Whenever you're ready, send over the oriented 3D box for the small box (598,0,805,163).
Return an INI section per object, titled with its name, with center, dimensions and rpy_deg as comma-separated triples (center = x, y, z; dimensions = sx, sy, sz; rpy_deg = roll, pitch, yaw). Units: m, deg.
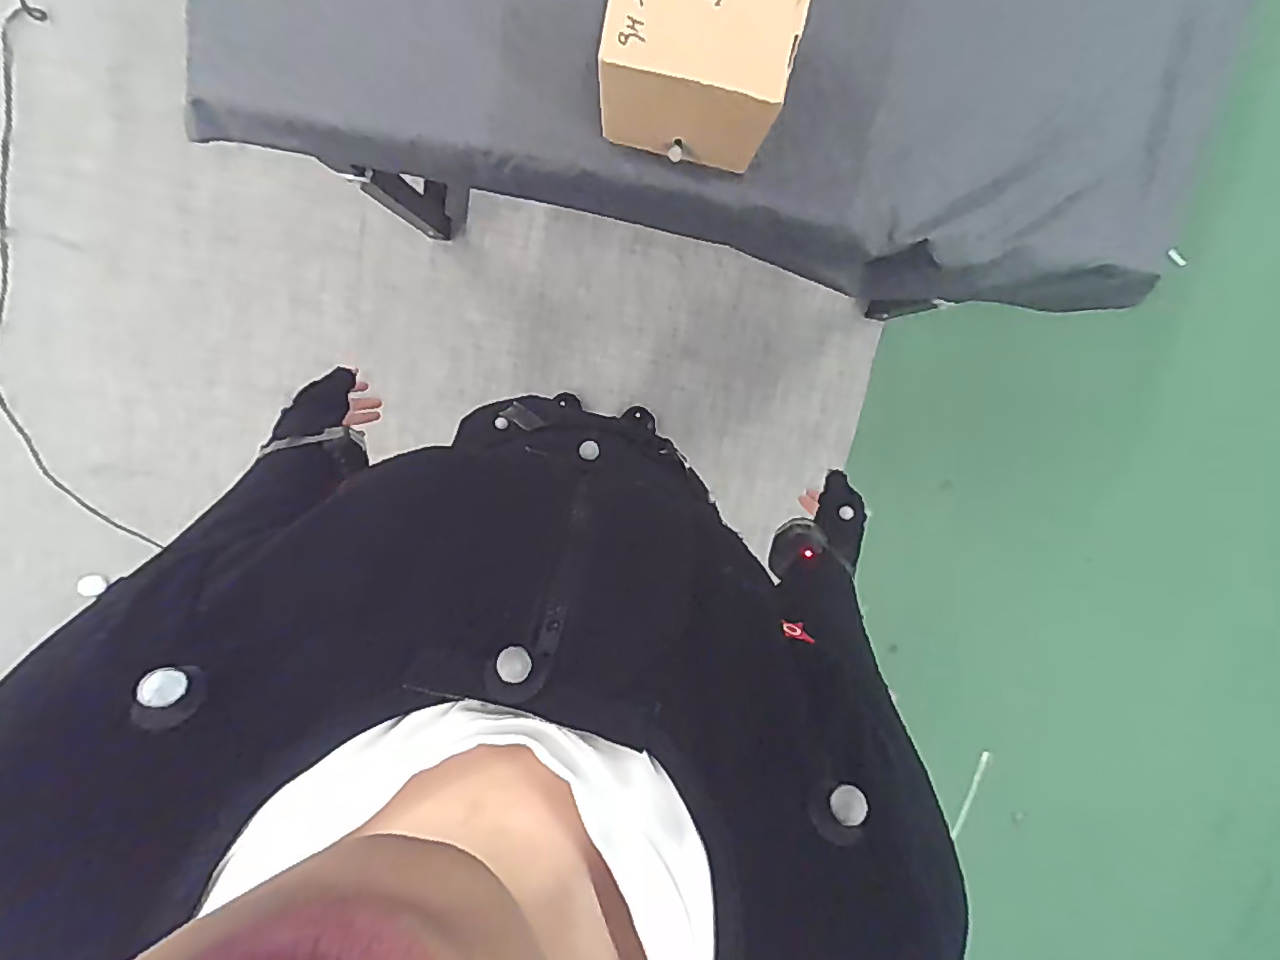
[small box]
center = 0.059, -0.458, 0.562
dimensions = 0.179, 0.176, 0.168
rpy_deg = 11, 99, -5
